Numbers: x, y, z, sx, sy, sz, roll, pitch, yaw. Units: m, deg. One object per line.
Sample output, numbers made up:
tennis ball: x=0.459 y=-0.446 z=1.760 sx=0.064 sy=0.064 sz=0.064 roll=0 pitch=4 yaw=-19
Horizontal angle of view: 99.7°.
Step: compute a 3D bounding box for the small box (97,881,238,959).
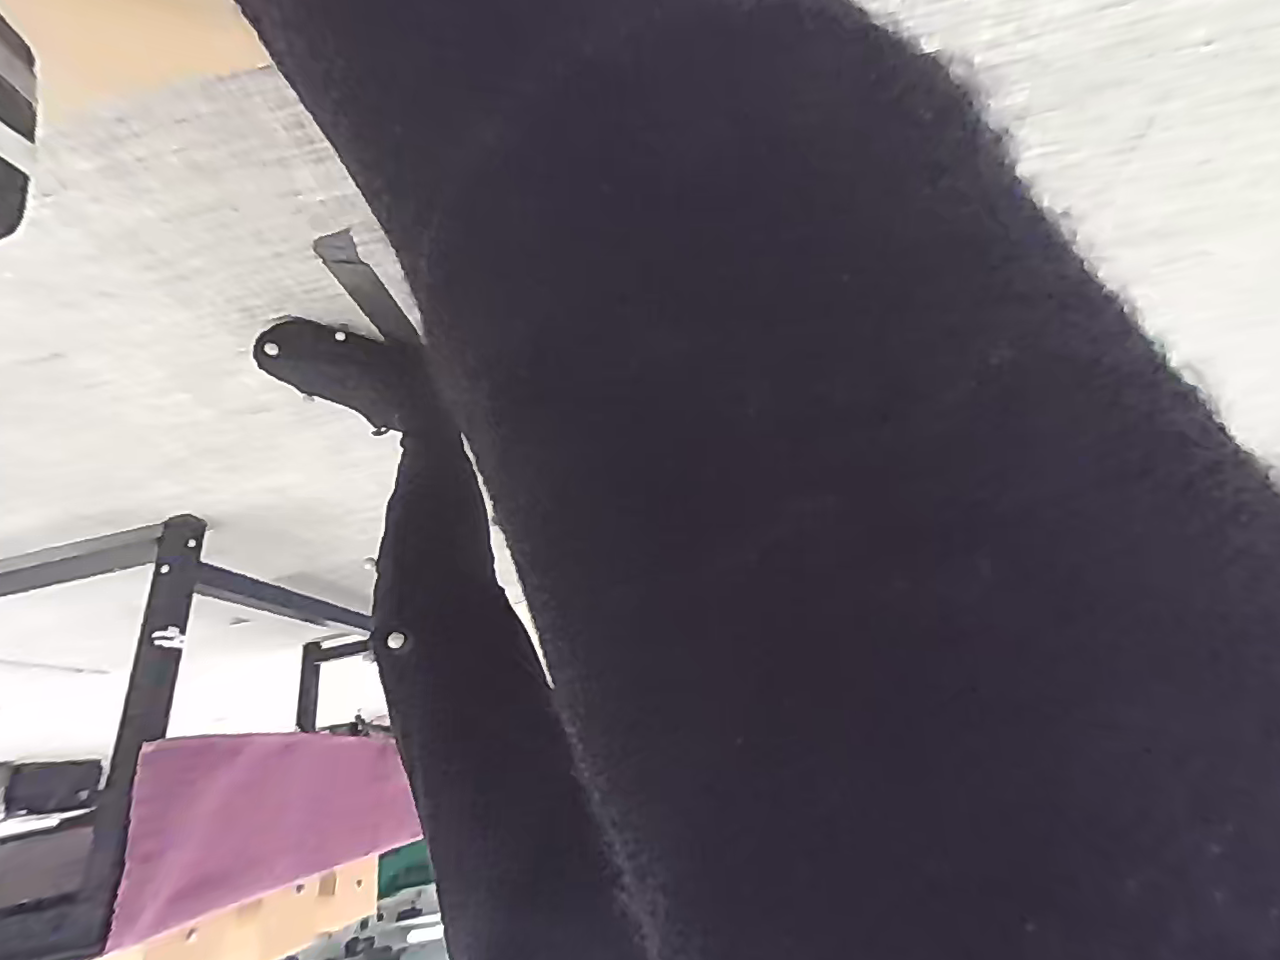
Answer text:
small box: x=-0.979 y=0.959 z=1.123 sx=0.179 sy=0.176 sz=0.168 roll=-18 pitch=154 yaw=14
